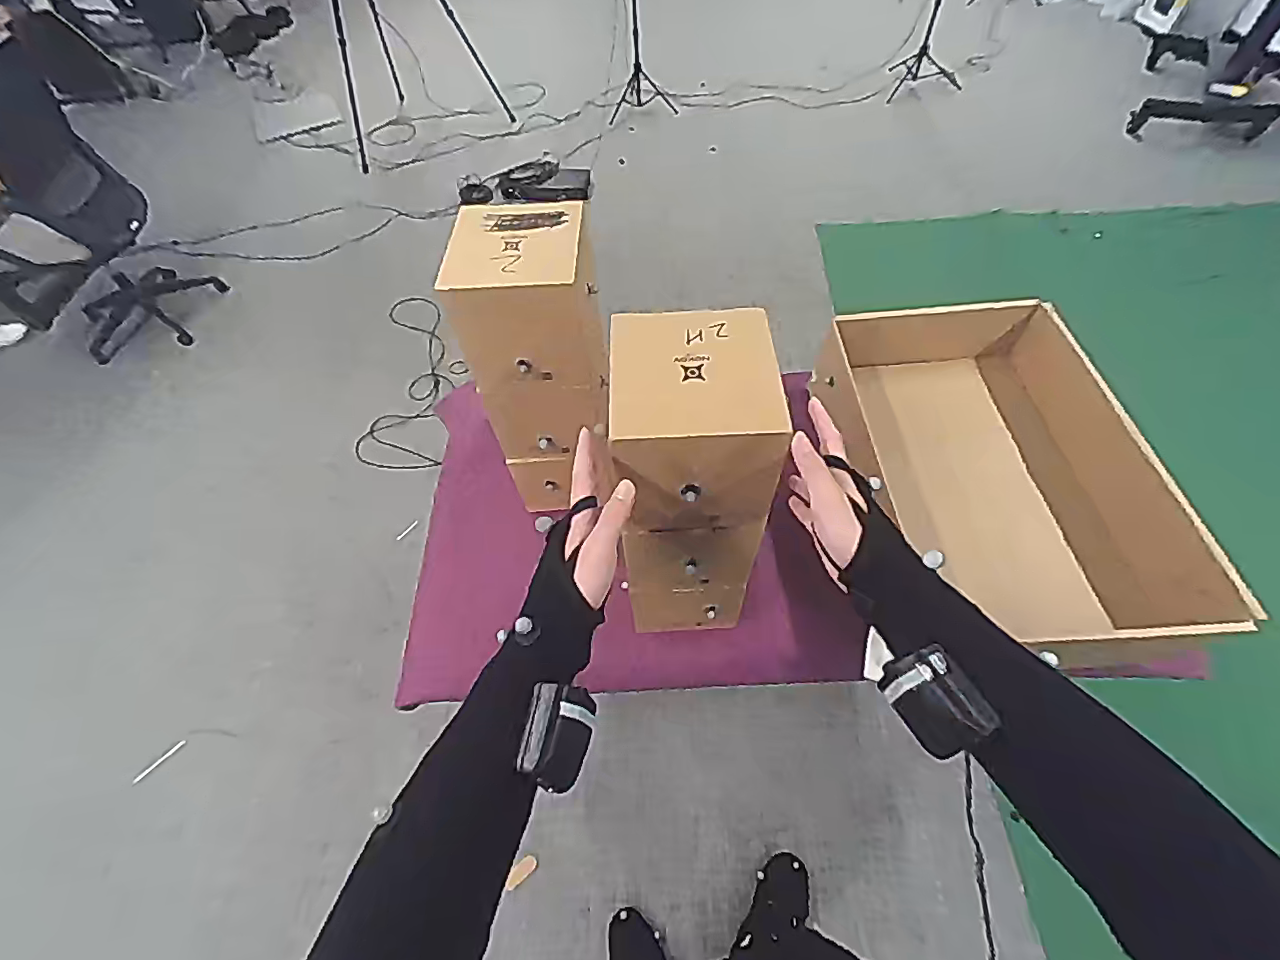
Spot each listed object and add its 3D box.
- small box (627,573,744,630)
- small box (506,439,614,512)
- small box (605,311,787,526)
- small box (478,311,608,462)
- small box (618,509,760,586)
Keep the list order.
[{"bbox_3d":[0.068,0.132,0.861,0.168,0.176,0.179,-3,54,1],"label":"small box"},{"bbox_3d":[-0.139,-0.052,1.003,0.168,0.176,0.179,-5,55,1],"label":"small box"},{"bbox_3d":[0.054,-0.060,0.593,0.168,0.176,0.179,-1,54,1],"label":"small box"},{"bbox_3d":[-0.142,-0.147,0.869,0.168,0.176,0.179,-1,56,4],"label":"small box"},{"bbox_3d":[0.059,0.036,0.729,0.168,0.176,0.179,-3,55,1],"label":"small box"}]
